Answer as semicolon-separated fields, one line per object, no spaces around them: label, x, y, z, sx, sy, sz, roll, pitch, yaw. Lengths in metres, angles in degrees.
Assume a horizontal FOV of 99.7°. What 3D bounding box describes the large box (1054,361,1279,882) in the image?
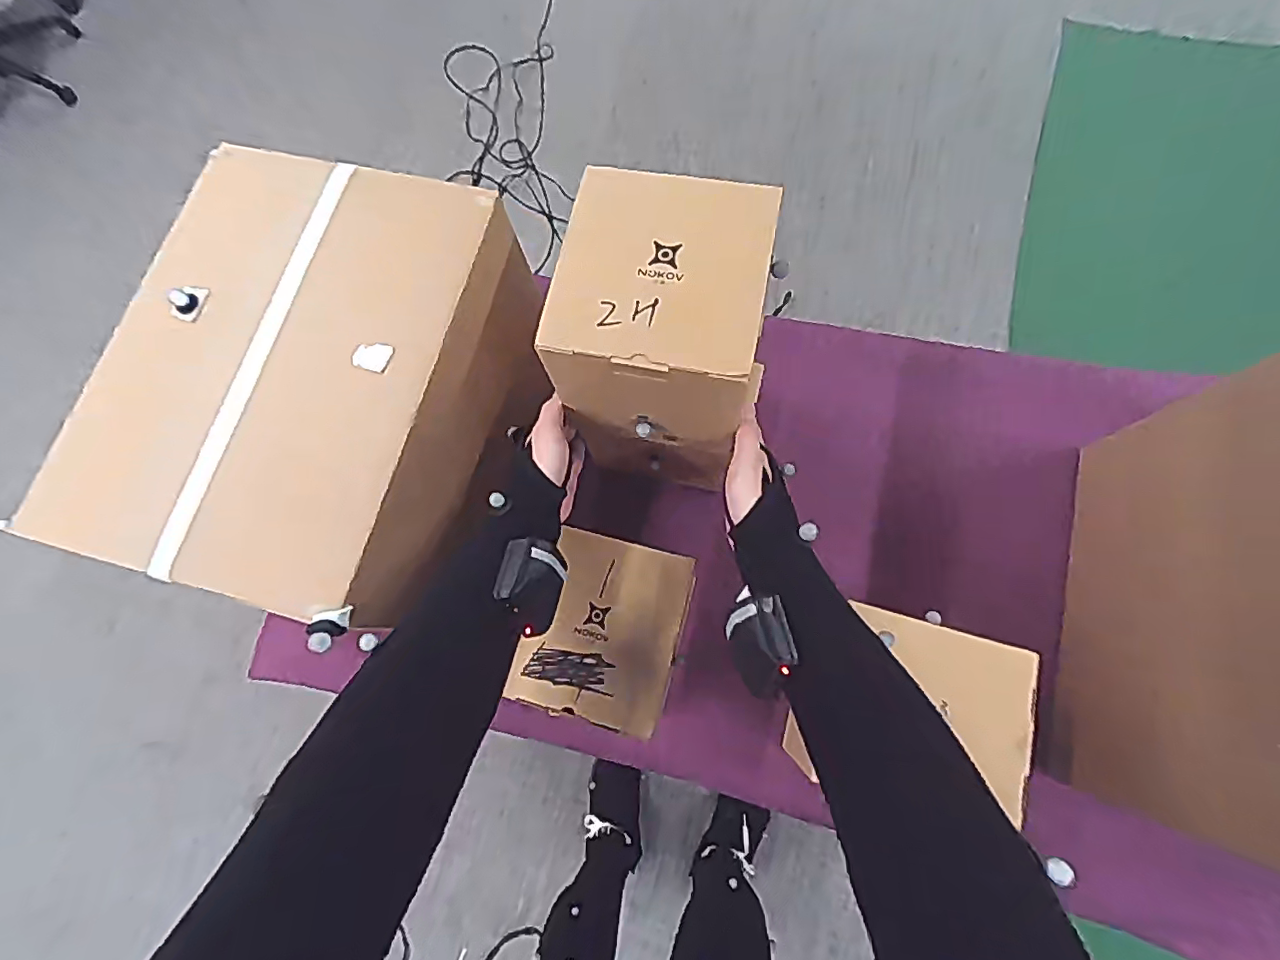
large box;0.633;0.142;0.474;0.320;0.320;0.408;14;76;11

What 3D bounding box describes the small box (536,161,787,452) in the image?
small box;0.024;-0.144;0.491;0.168;0.176;0.179;11;76;7

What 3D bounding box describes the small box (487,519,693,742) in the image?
small box;-0.040;0.162;0.600;0.168;0.176;0.179;14;75;9
